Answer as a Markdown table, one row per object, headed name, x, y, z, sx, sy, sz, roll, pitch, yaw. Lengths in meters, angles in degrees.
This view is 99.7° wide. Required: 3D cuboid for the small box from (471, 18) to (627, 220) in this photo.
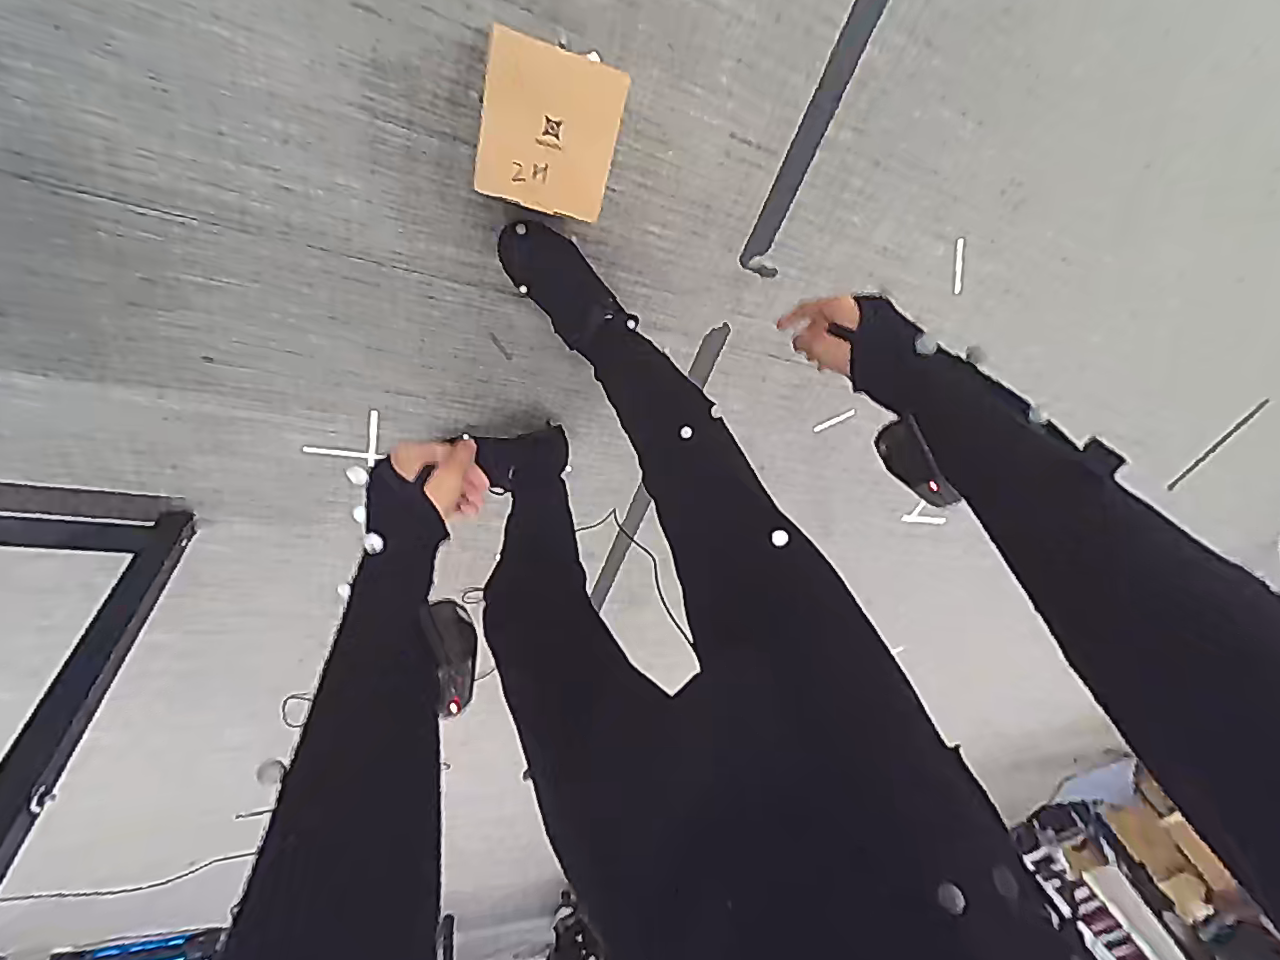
| name | x | y | z | sx | sy | sz | roll | pitch | yaw |
| --- | --- | --- | --- | --- | --- | --- | --- | --- | --- |
| small box | -0.133 | -0.480 | 0.722 | 0.168 | 0.176 | 0.179 | 5 | 128 | -21 |
